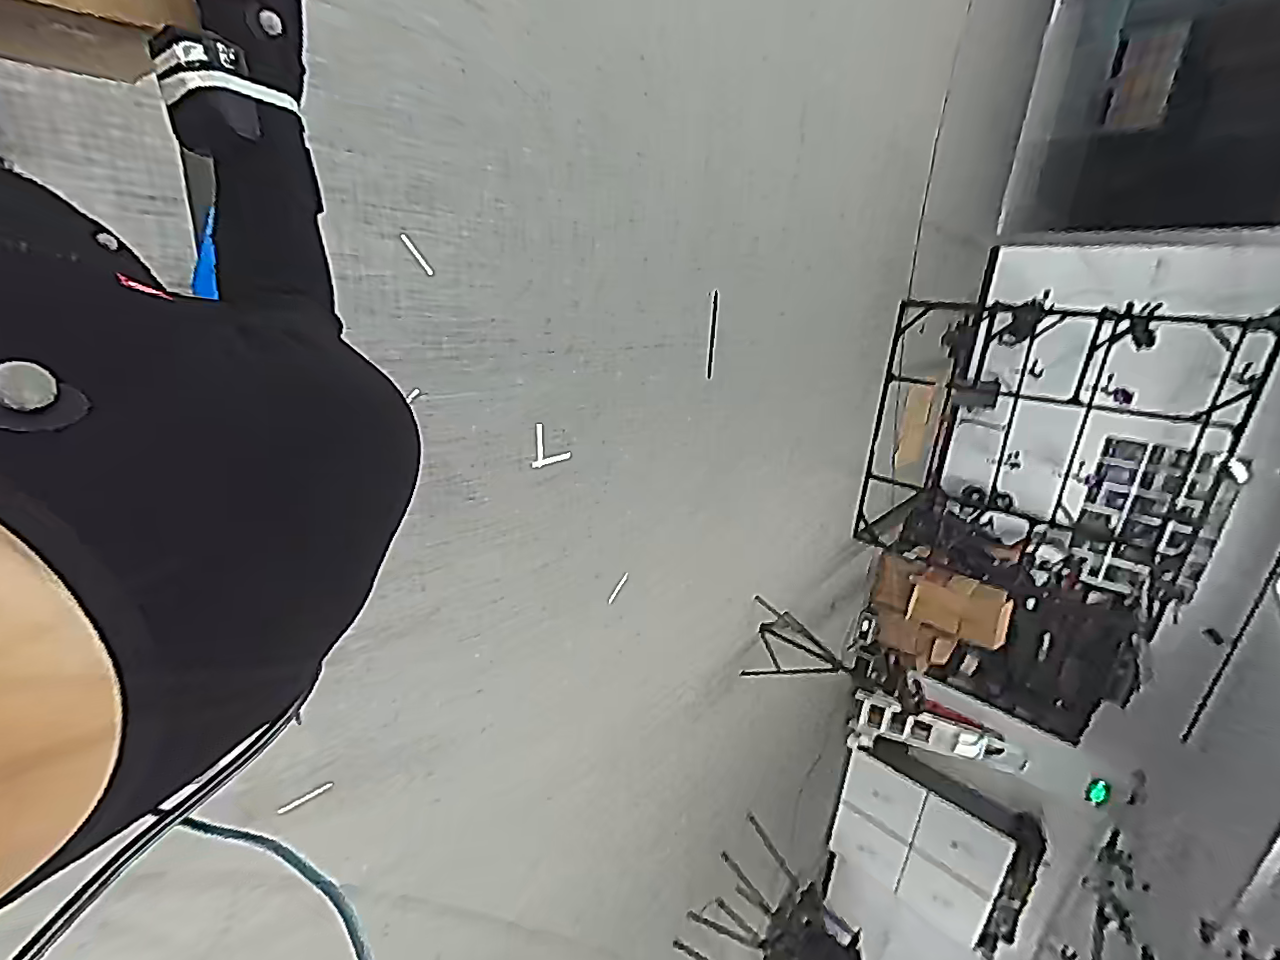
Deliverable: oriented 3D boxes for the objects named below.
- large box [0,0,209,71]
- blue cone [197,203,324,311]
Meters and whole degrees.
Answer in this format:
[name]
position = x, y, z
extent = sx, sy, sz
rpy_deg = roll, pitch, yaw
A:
[large box]
position = -0.545, -0.464, 0.281
extent = 0.408, 0.320, 0.320
rpy_deg = -21, 126, -45
[blue cone]
position = -0.726, -0.440, 1.088
extent = 0.193, 0.380, 0.192
rpy_deg = 14, 95, -51
